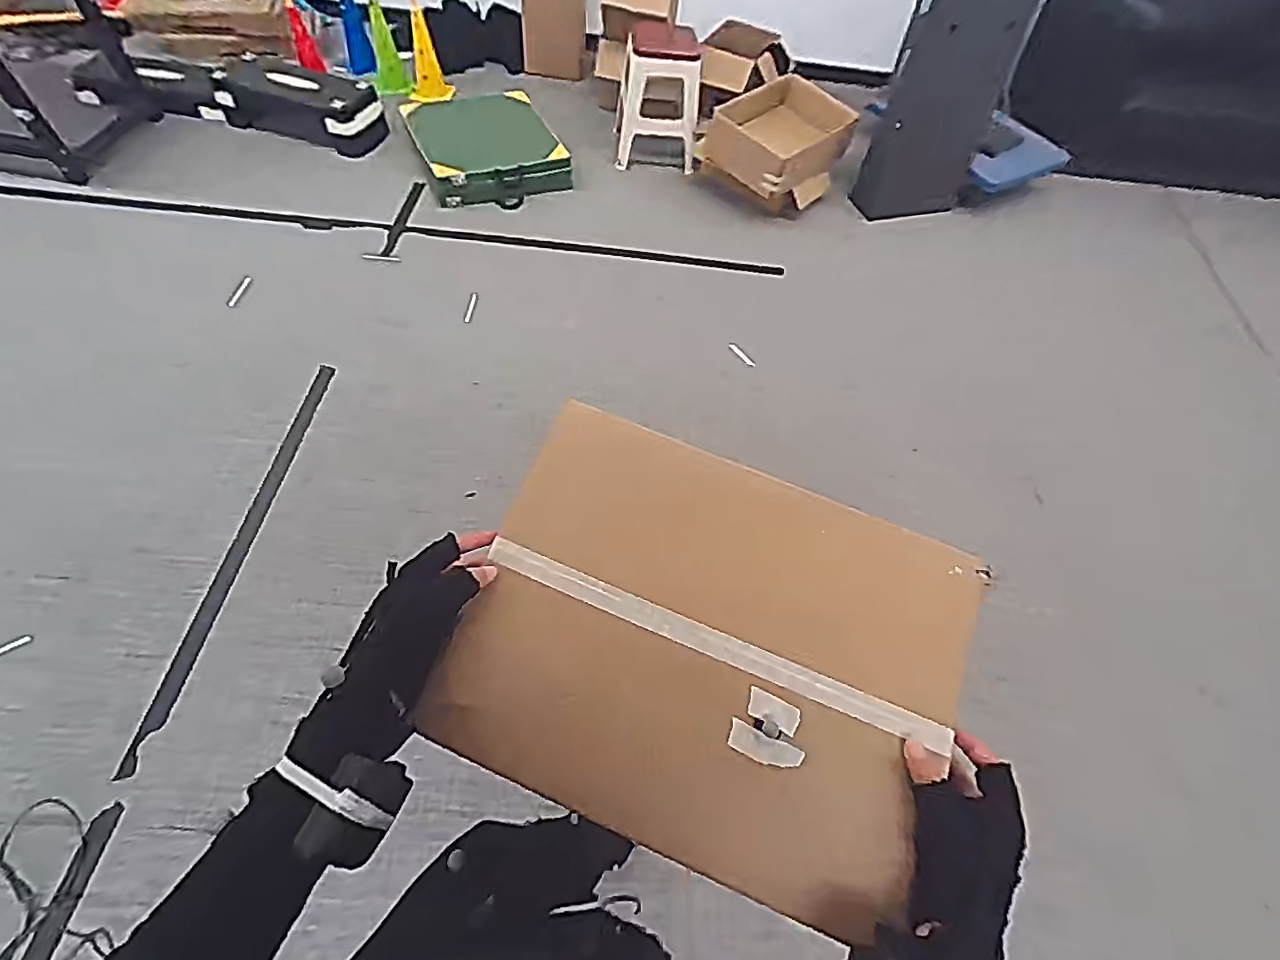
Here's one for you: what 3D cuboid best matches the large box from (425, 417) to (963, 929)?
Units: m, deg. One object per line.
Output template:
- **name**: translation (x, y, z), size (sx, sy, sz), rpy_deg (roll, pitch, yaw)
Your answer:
- **large box**: translation (0.055, 0.184, 0.613), size (0.408, 0.320, 0.320), rpy_deg (22, 74, 6)
